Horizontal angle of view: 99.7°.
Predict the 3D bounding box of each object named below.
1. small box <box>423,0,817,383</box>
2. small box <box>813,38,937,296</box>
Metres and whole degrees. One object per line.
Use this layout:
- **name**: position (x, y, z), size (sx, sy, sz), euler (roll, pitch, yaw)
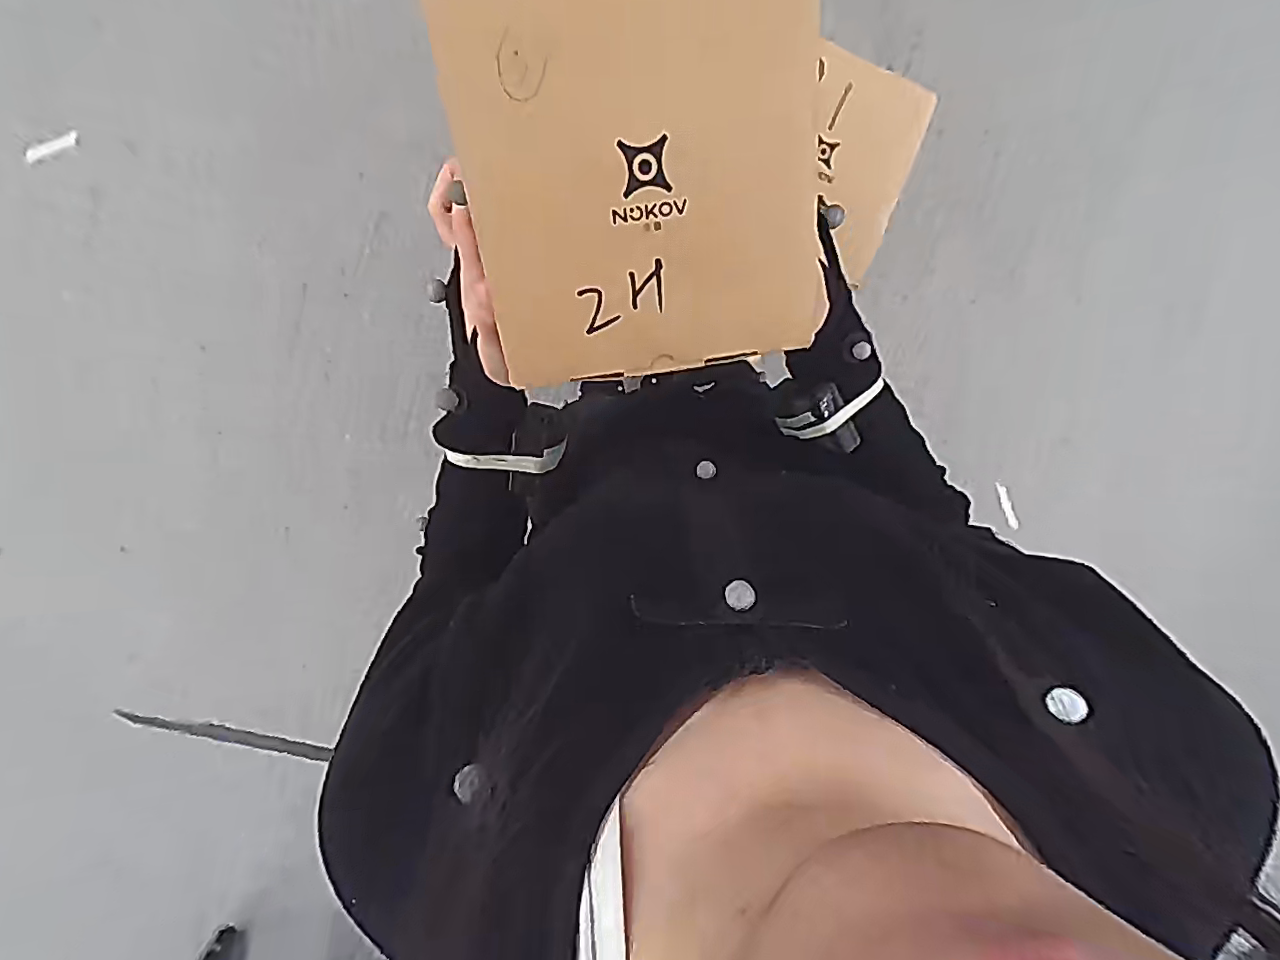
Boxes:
- **small box**: position (-0.006, -0.174, 0.323), size (0.168, 0.176, 0.179), euler (-9, 117, -1)
- **small box**: position (0.152, -0.299, 0.557), size (0.168, 0.176, 0.179), euler (18, 100, -8)
